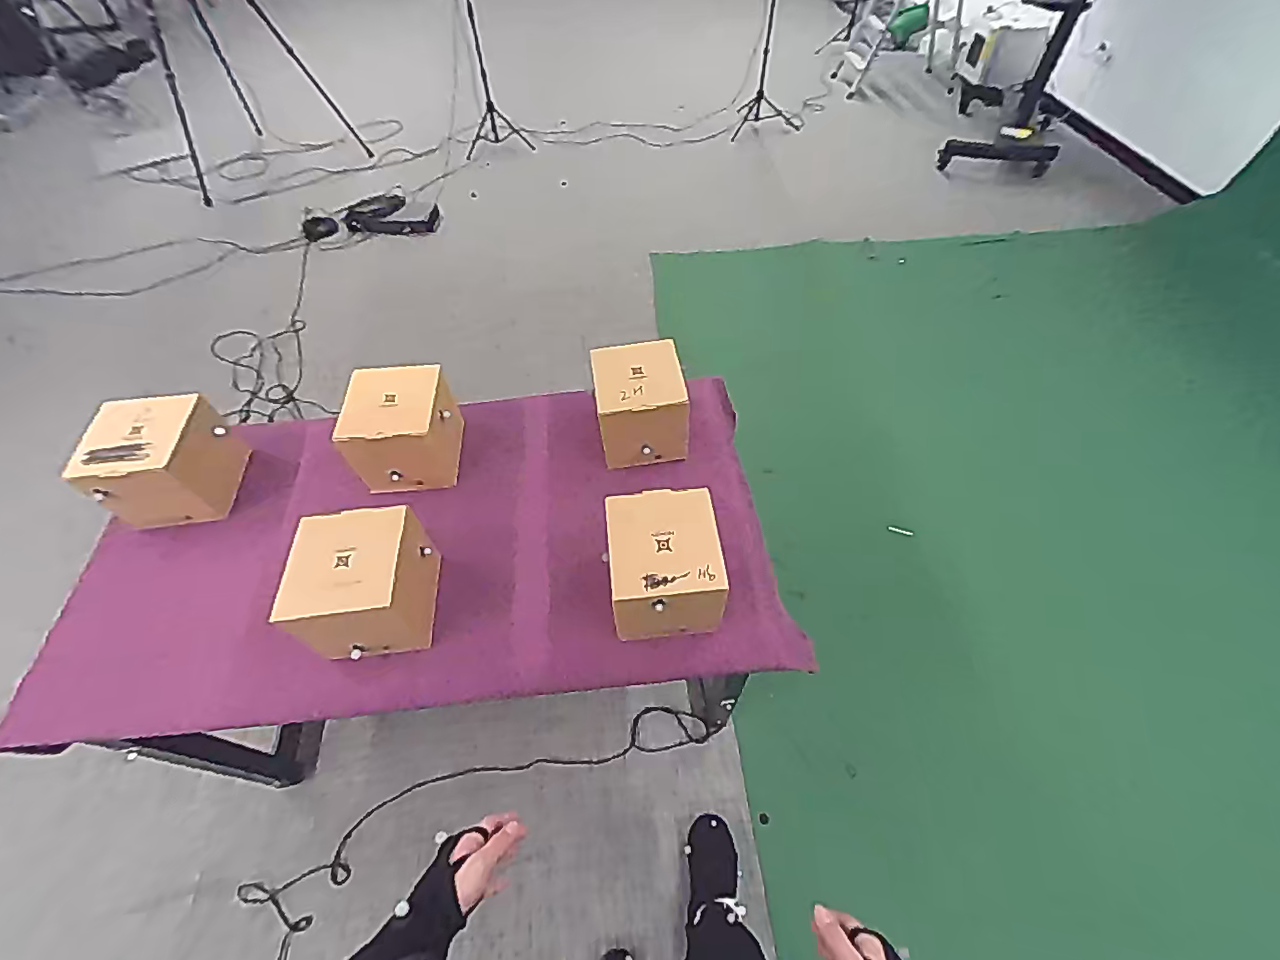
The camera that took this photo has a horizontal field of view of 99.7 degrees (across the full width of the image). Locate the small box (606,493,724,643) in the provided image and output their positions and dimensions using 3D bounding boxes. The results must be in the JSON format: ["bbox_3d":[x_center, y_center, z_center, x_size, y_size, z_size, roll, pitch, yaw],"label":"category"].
[{"bbox_3d":[0.035,0.143,0.869,0.168,0.176,0.179,-6,54,0],"label":"small box"}]

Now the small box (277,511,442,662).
[{"bbox_3d":[-0.433,0.173,0.871,0.168,0.176,0.179,-7,53,-1],"label":"small box"}]

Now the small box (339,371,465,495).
[{"bbox_3d":[-0.453,-0.090,1.064,0.168,0.176,0.179,-4,56,-1],"label":"small box"}]

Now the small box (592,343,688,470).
[{"bbox_3d":[0.000,-0.143,1.077,0.168,0.176,0.179,-9,55,0],"label":"small box"}]
